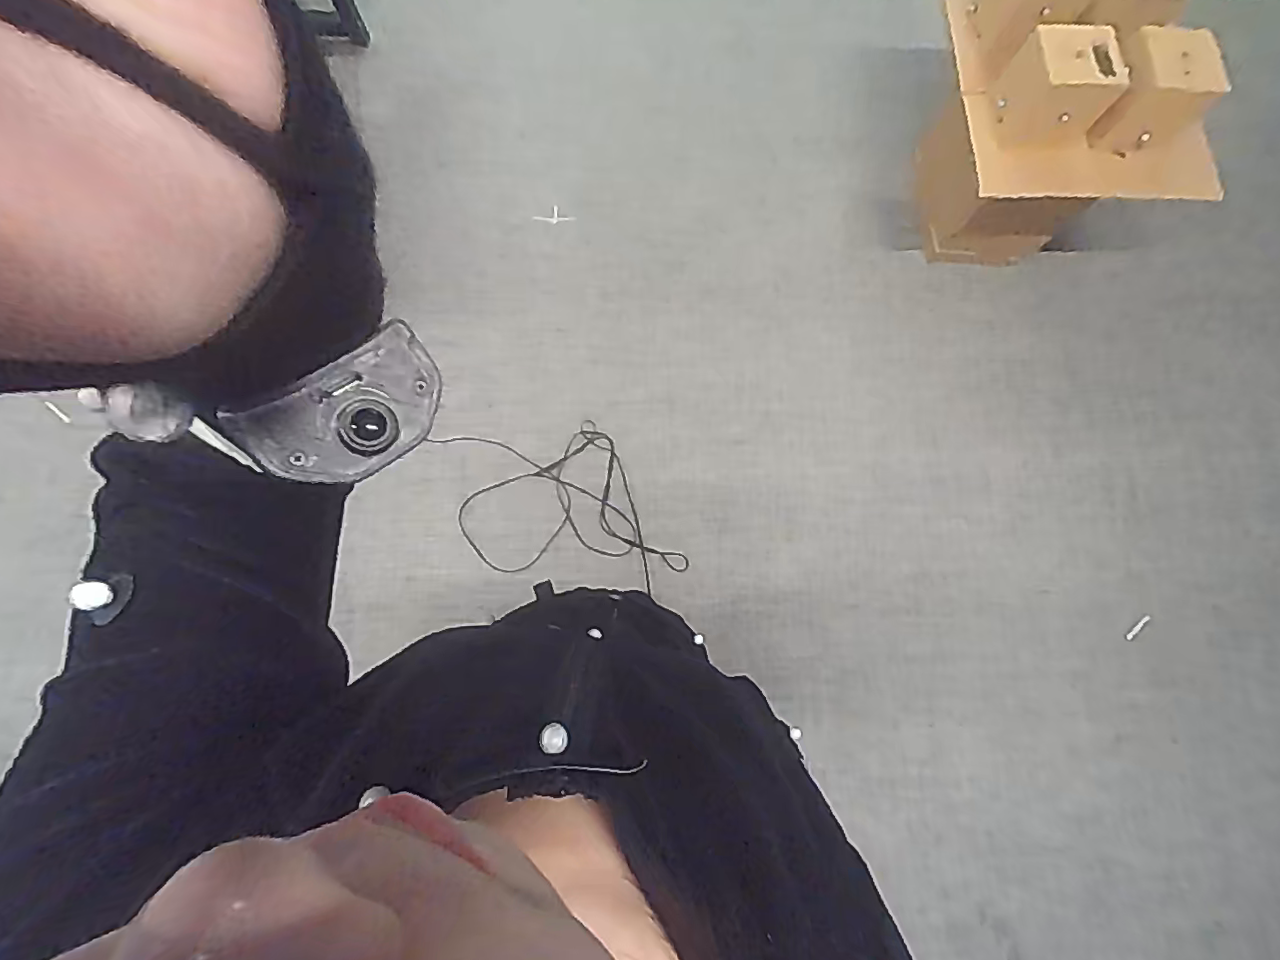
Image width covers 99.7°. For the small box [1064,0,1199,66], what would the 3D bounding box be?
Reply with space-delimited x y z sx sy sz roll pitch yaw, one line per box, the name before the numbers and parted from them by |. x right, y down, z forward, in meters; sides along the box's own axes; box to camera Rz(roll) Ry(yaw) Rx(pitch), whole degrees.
small box | 1.162 -1.135 1.295 0.179 0.176 0.168 -1 76 -3

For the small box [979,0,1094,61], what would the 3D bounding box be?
small box | 0.946 -1.144 1.292 0.179 0.176 0.168 -4 77 -3
